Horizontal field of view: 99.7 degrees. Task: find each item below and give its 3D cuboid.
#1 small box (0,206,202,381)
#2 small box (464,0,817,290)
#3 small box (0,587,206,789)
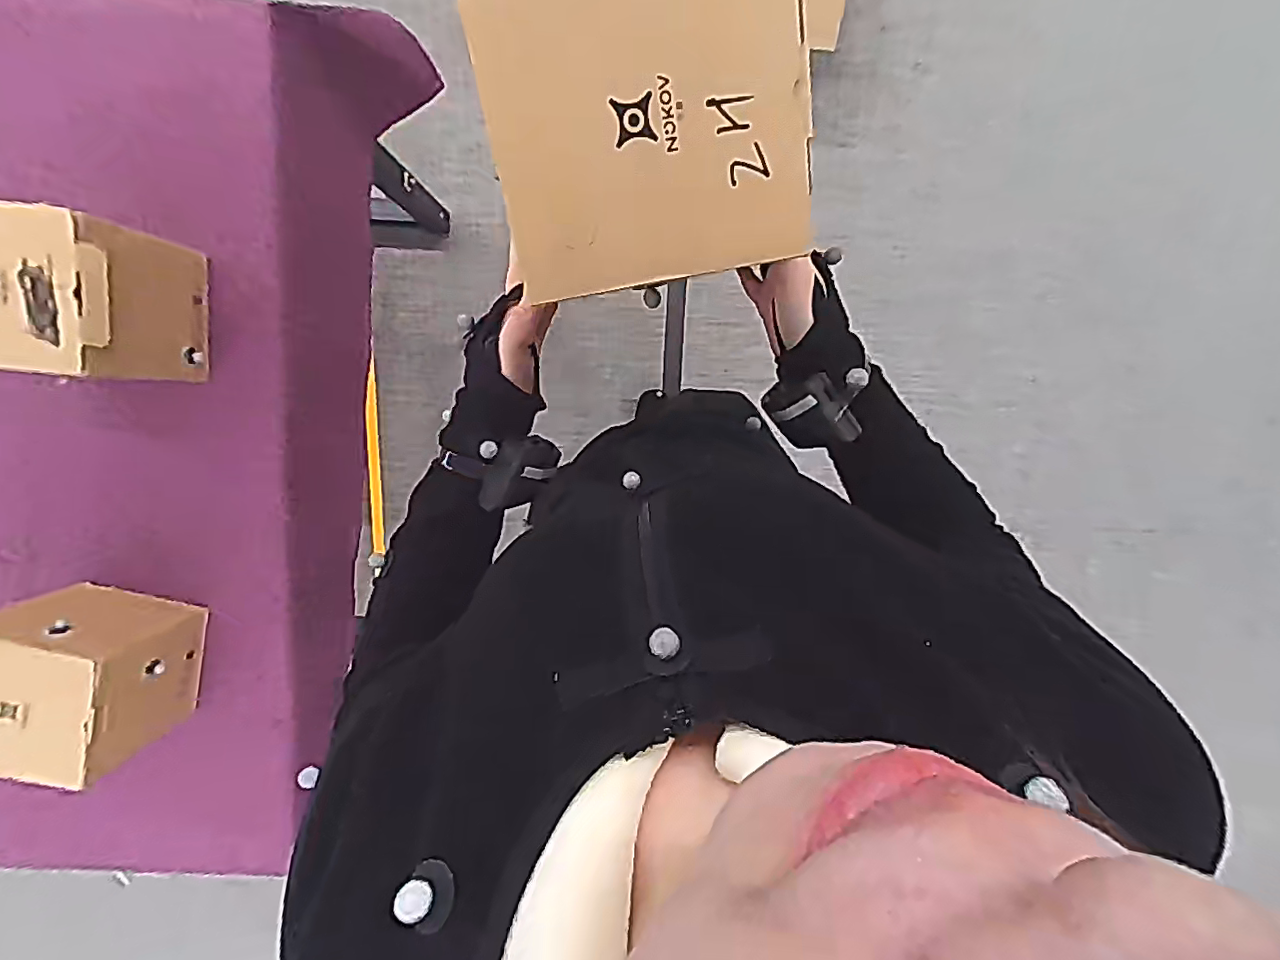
[{"bbox_3d":[-0.651,-0.205,0.624,0.179,0.176,0.168,5,98,-1],"label":"small box"},{"bbox_3d":[0.004,-0.226,0.365,0.179,0.176,0.168,-10,111,0],"label":"small box"},{"bbox_3d":[-0.708,0.251,0.691,0.179,0.176,0.168,13,97,-3],"label":"small box"}]
